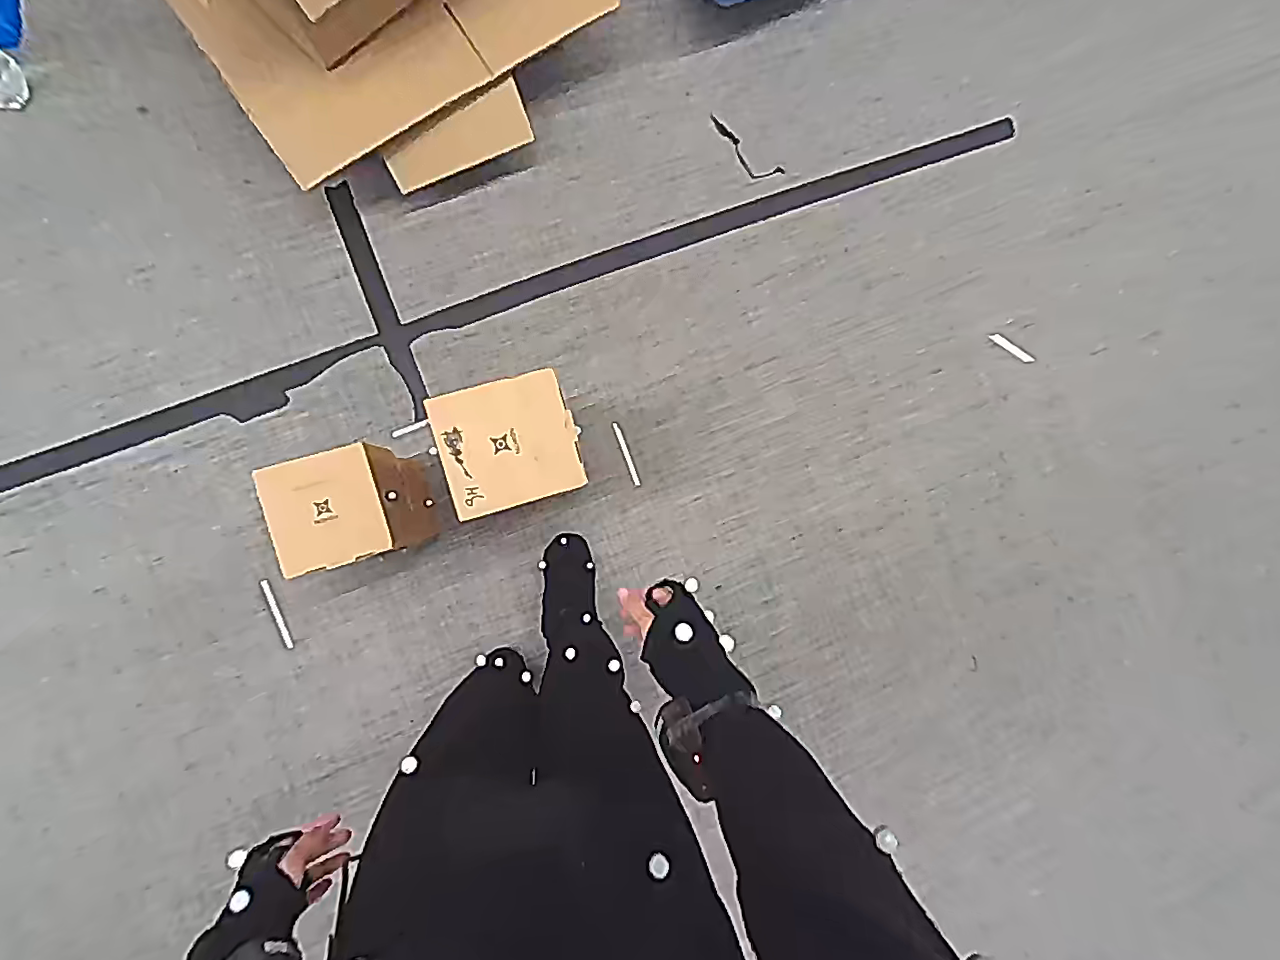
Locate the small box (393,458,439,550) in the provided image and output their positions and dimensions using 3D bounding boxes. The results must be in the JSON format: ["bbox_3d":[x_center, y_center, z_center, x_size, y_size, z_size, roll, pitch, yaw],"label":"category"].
[{"bbox_3d":[-0.518,0.060,1.062,0.179,0.176,0.168,-15,92,-8],"label":"small box"}]

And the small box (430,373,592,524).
[{"bbox_3d":[-0.180,-0.043,0.780,0.179,0.176,0.168,-16,92,-10],"label":"small box"}]

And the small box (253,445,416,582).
[{"bbox_3d":[-0.493,0.051,0.901,0.168,0.176,0.179,-17,91,-10],"label":"small box"}]
